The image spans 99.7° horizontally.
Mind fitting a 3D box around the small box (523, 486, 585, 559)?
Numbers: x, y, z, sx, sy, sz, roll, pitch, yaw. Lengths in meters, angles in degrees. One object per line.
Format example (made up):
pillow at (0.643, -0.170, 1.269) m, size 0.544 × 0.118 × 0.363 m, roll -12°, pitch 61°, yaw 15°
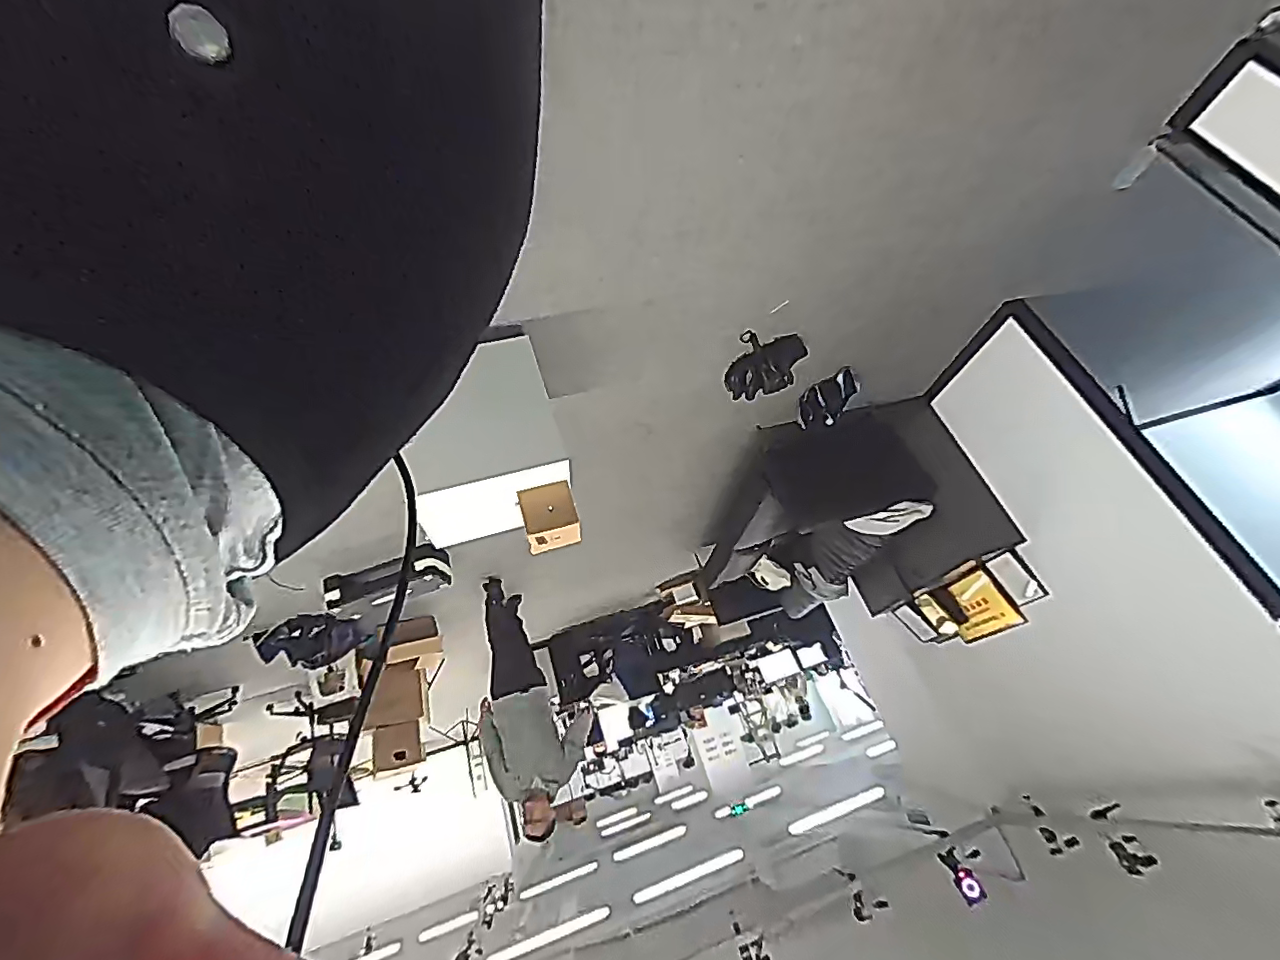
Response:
small box at (-0.295, 0.142, 1.843) m, size 0.179 × 0.176 × 0.168 m, roll -16°, pitch 154°, yaw -12°
